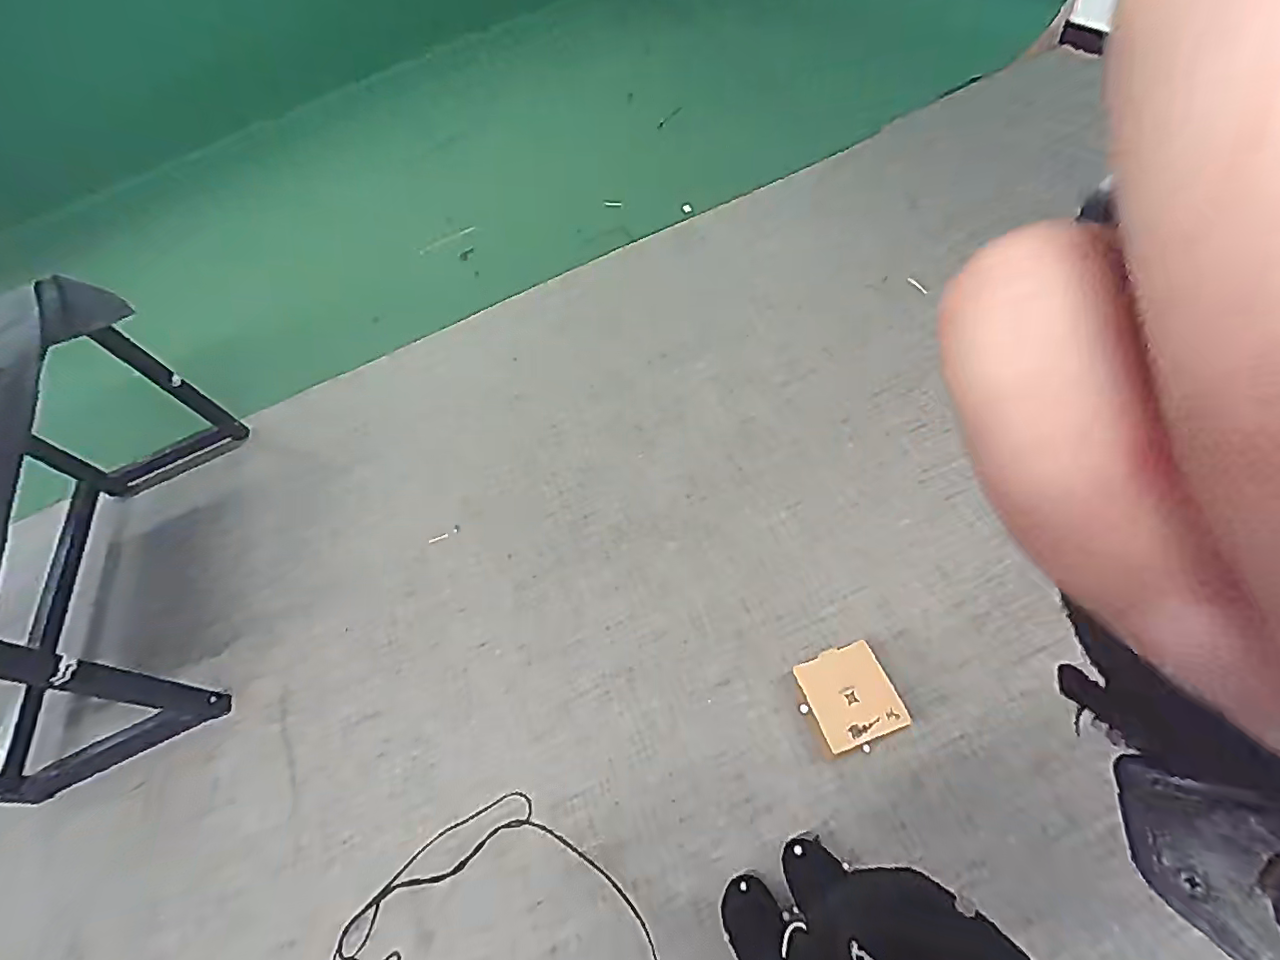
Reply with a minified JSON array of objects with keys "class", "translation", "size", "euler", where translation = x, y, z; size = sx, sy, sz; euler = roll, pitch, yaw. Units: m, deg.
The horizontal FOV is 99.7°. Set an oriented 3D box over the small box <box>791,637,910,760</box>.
[{"class":"small box","translation":[0.429,0.462,1.136],"size":[0.168,0.176,0.179],"euler":[-22,55,0]}]
